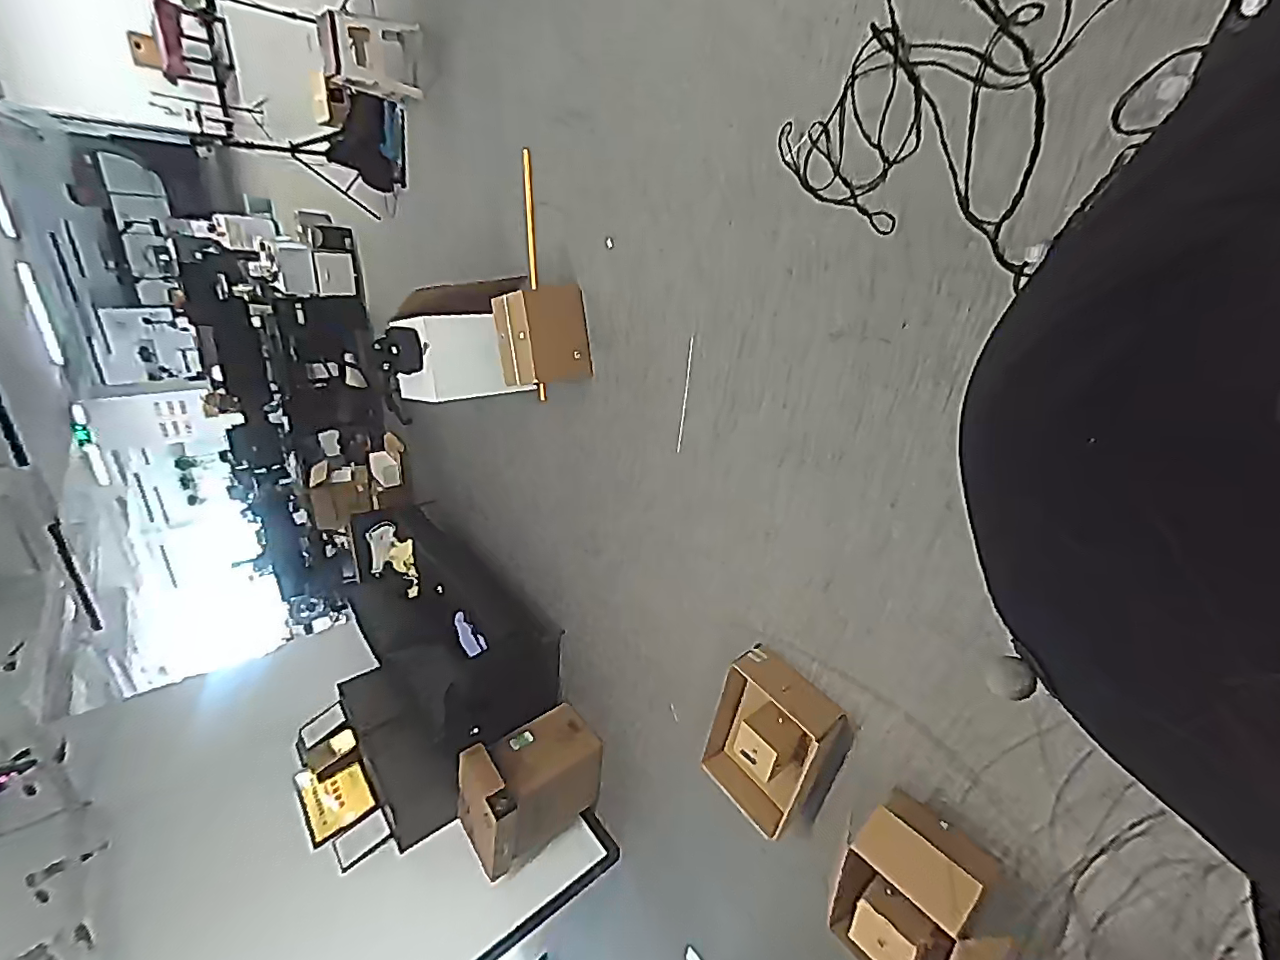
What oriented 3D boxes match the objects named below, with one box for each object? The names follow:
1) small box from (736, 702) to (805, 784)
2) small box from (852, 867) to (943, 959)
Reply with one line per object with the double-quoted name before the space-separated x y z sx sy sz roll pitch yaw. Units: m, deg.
"small box" 0.482 0.964 1.992 0.168 0.176 0.179 34 128 41
"small box" 0.742 1.275 1.553 0.168 0.176 0.179 26 120 45
